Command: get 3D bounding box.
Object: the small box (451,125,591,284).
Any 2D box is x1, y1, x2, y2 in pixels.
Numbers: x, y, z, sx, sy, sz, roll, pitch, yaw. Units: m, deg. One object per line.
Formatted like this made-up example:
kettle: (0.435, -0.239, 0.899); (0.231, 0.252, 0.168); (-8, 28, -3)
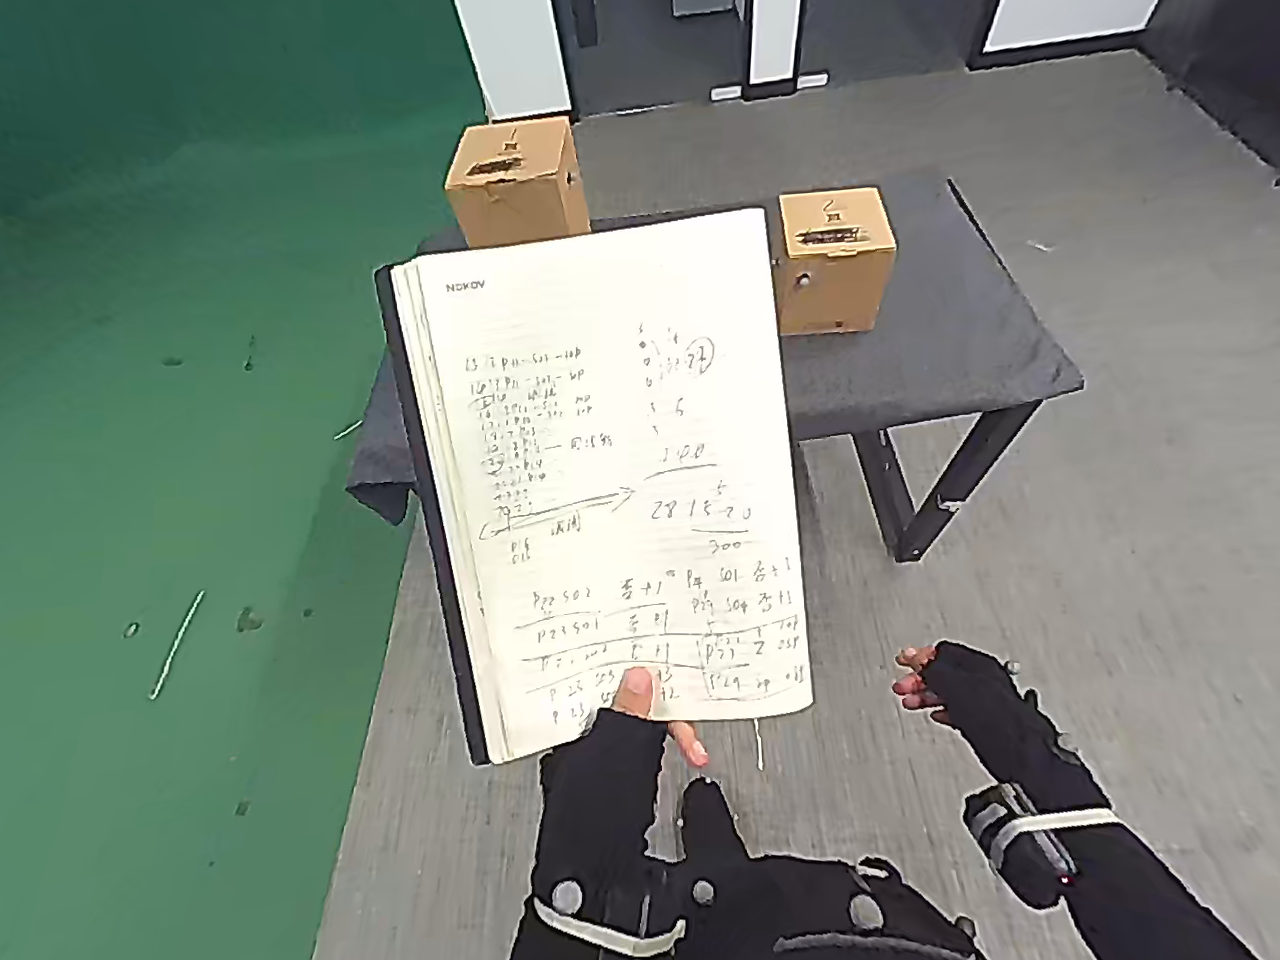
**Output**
small box: (-0.178, -0.433, 0.871); (0.168, 0.176, 0.179); (-2, 55, 6)
